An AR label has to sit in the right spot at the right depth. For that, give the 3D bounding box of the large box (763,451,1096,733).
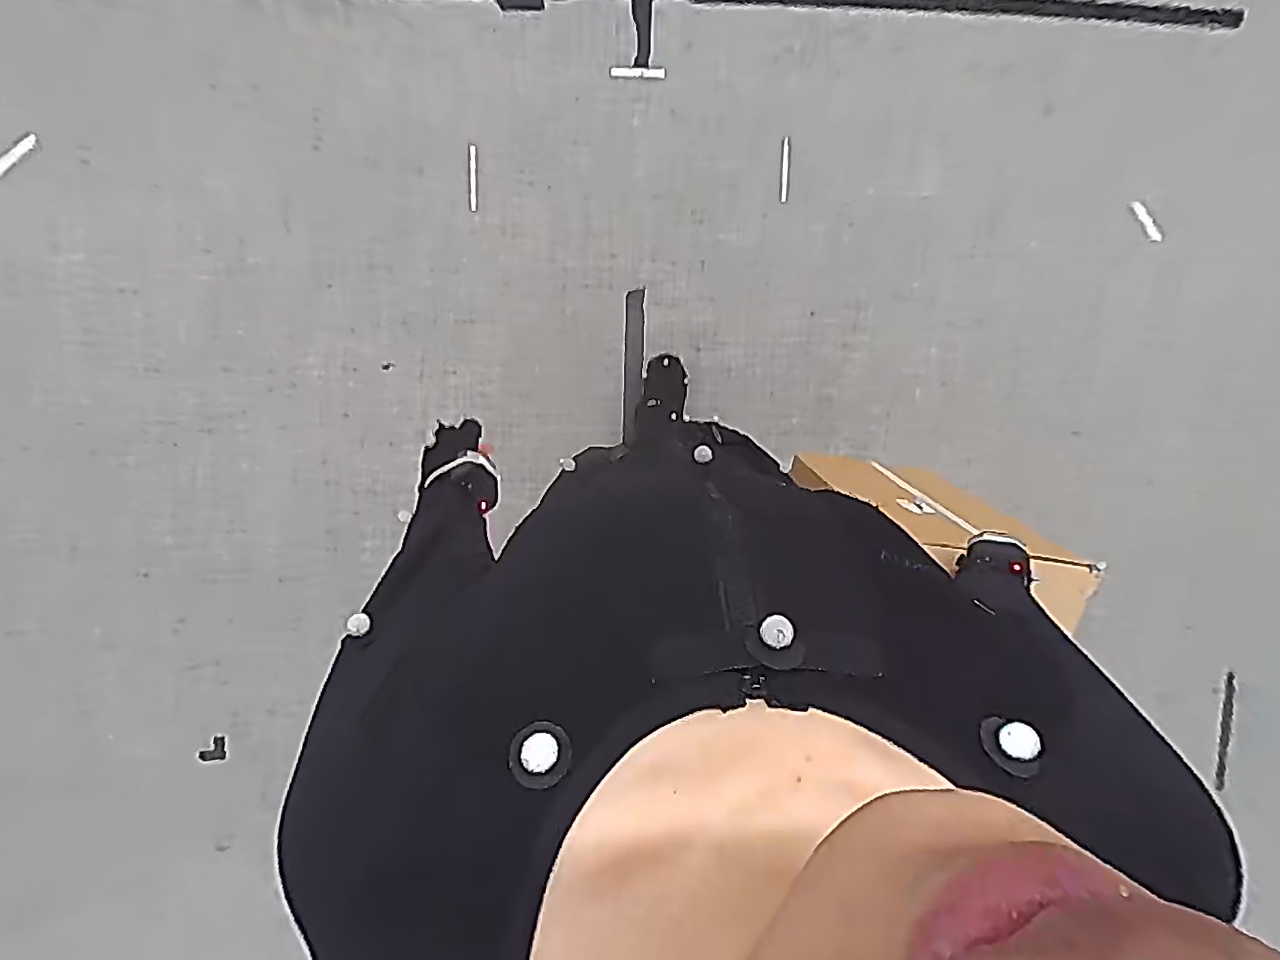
[{"bbox_3d":[0.452,0.172,0.972,0.320,0.408,0.320,8,110,-5],"label":"large box"}]
